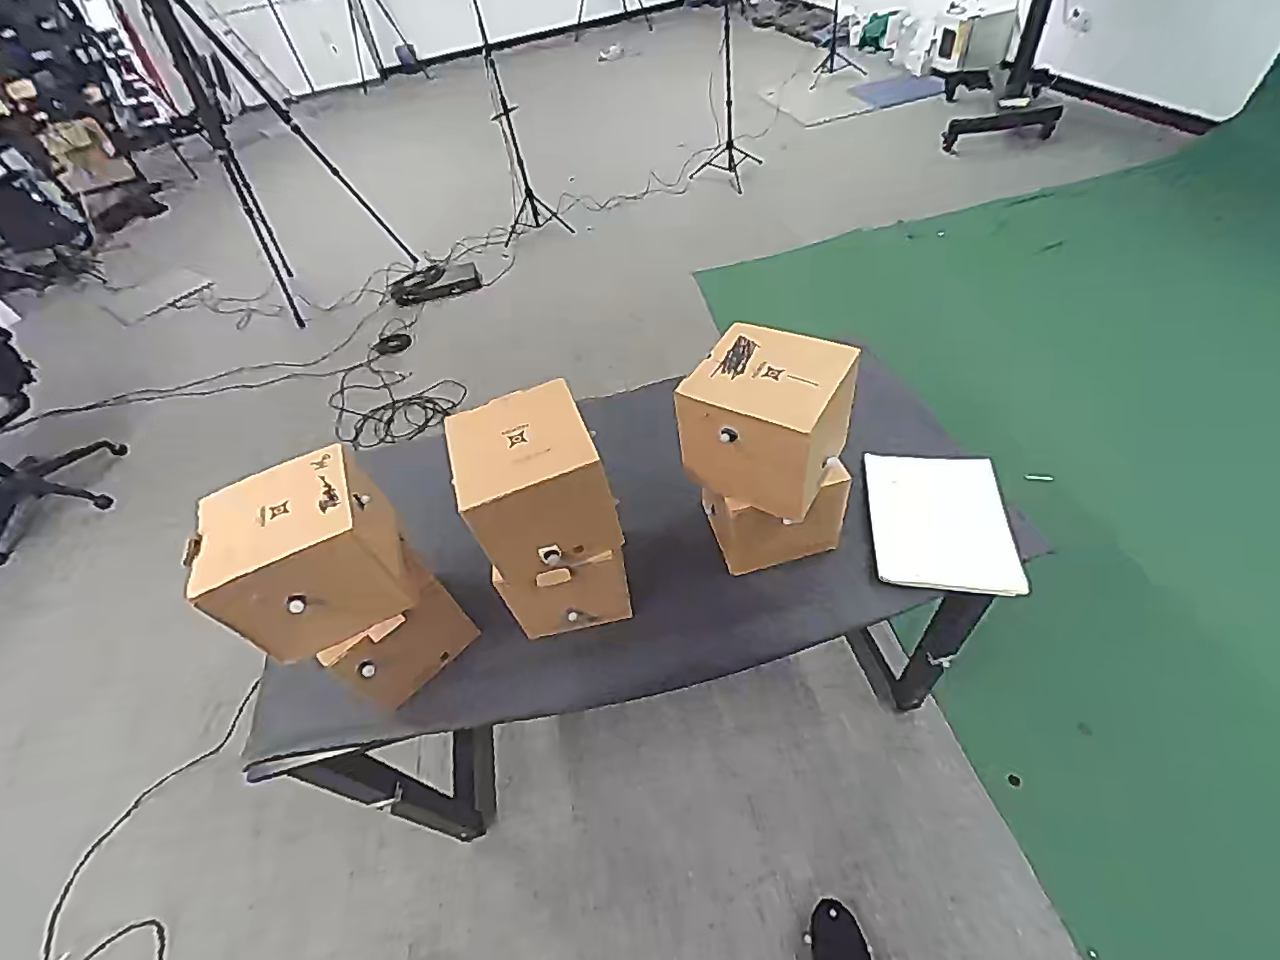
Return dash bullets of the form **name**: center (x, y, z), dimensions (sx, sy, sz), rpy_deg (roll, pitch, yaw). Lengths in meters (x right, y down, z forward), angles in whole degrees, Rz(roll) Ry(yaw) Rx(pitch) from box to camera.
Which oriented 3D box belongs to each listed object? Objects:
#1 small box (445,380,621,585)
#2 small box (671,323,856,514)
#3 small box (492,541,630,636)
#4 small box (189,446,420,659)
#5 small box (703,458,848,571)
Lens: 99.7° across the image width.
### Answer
- **small box**: center (-0.138, 0.004, 0.712), dimensions (0.168, 0.176, 0.179), rpy_deg (-22, 48, -7)
- **small box**: center (0.164, -0.081, 0.723), dimensions (0.179, 0.176, 0.168), rpy_deg (22, 57, 28)
- **small box**: center (-0.117, 0.111, 0.832), dimensions (0.168, 0.176, 0.179), rpy_deg (-13, 47, 1)
- **small box**: center (-0.411, 0.095, 0.686), dimensions (0.179, 0.176, 0.168), rpy_deg (-26, 49, -10)
- **small box**: center (0.199, 0.017, 0.852), dimensions (0.179, 0.176, 0.168), rpy_deg (-16, 47, -1)
